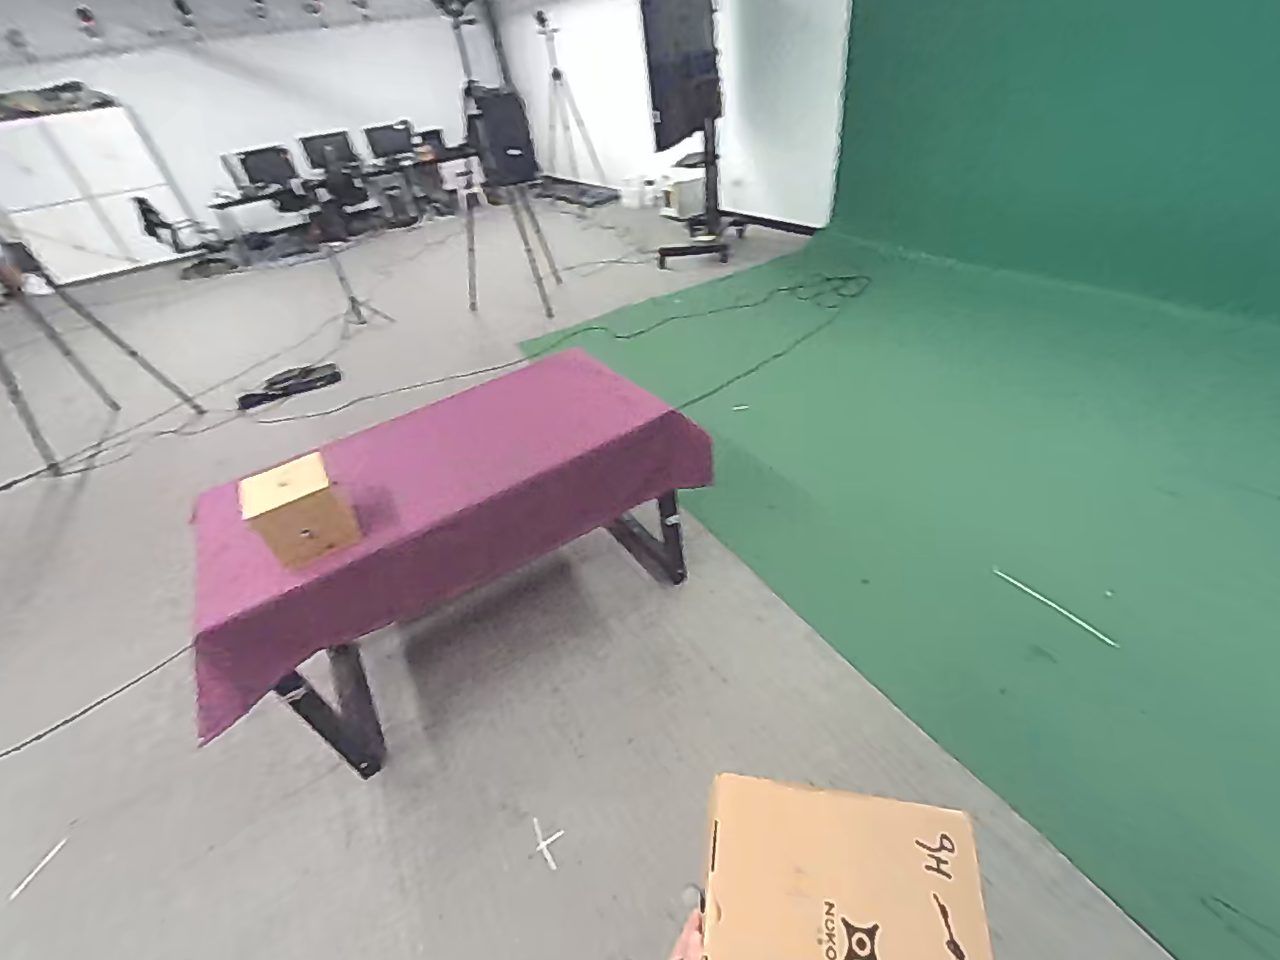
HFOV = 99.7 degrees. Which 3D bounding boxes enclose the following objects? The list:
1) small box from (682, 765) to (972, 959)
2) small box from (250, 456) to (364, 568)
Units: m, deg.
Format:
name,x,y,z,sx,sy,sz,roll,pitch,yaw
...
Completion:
name,x,y,z,sx,sy,sz,roll,pitch,yaw
small box,0.126,0.332,0.410,0.179,0.176,0.168,4,56,9
small box,-0.759,0.079,1.241,0.168,0.176,0.179,-26,40,-22
